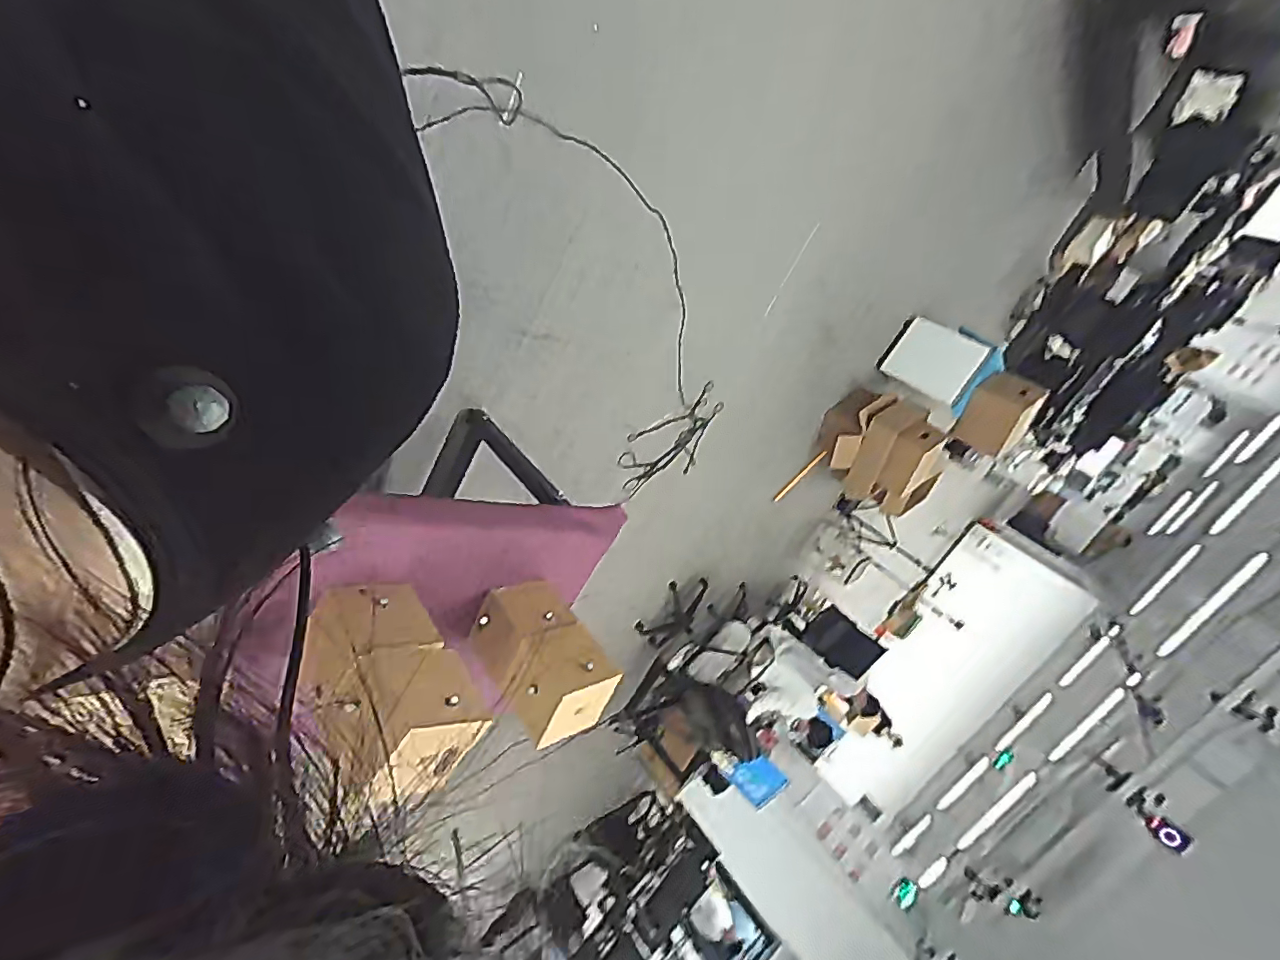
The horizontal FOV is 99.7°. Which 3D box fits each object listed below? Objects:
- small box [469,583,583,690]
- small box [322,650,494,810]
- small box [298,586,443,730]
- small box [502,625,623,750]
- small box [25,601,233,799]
[{"bbox_3d":[-0.276,0.363,1.293,0.179,0.176,0.168,3,121,-49],"label":"small box"},{"bbox_3d":[-0.390,0.406,0.910,0.168,0.176,0.179,-52,146,6],"label":"small box"},{"bbox_3d":[-0.500,0.316,0.993,0.168,0.176,0.179,11,115,-53],"label":"small box"},{"bbox_3d":[-0.176,0.448,1.198,0.179,0.176,0.168,0,123,-49],"label":"small box"},{"bbox_3d":[-0.696,0.279,0.735,0.168,0.176,0.179,14,113,-53],"label":"small box"}]
